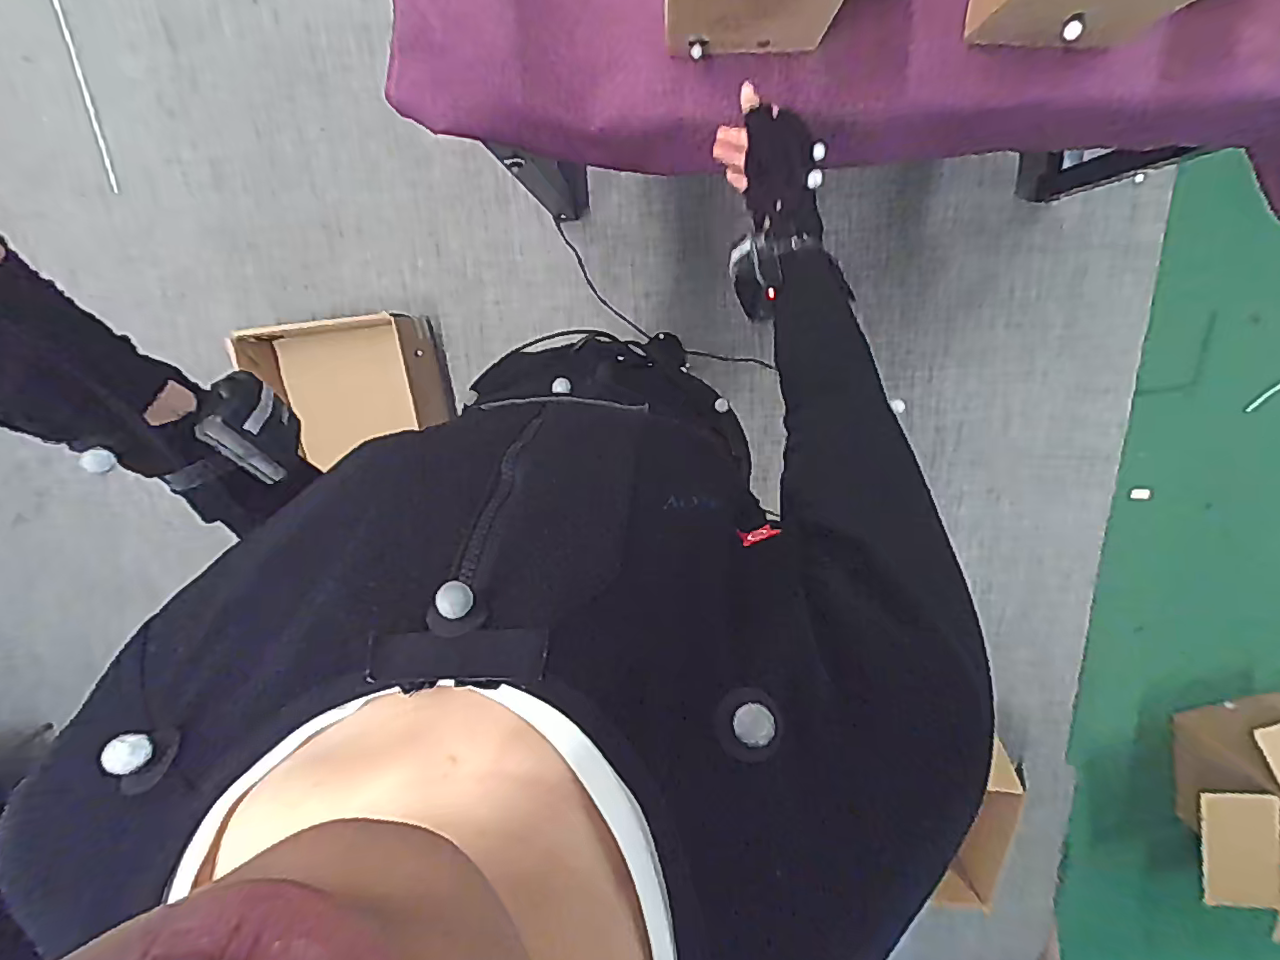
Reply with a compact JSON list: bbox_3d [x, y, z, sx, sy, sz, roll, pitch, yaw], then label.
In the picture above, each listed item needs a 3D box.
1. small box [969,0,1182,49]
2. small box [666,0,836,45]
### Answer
[{"bbox_3d":[0.431,-0.533,0.483,0.168,0.176,0.179,3,106,1],"label":"small box"},{"bbox_3d":[0.108,-0.530,0.490,0.168,0.176,0.179,0,106,2],"label":"small box"}]
